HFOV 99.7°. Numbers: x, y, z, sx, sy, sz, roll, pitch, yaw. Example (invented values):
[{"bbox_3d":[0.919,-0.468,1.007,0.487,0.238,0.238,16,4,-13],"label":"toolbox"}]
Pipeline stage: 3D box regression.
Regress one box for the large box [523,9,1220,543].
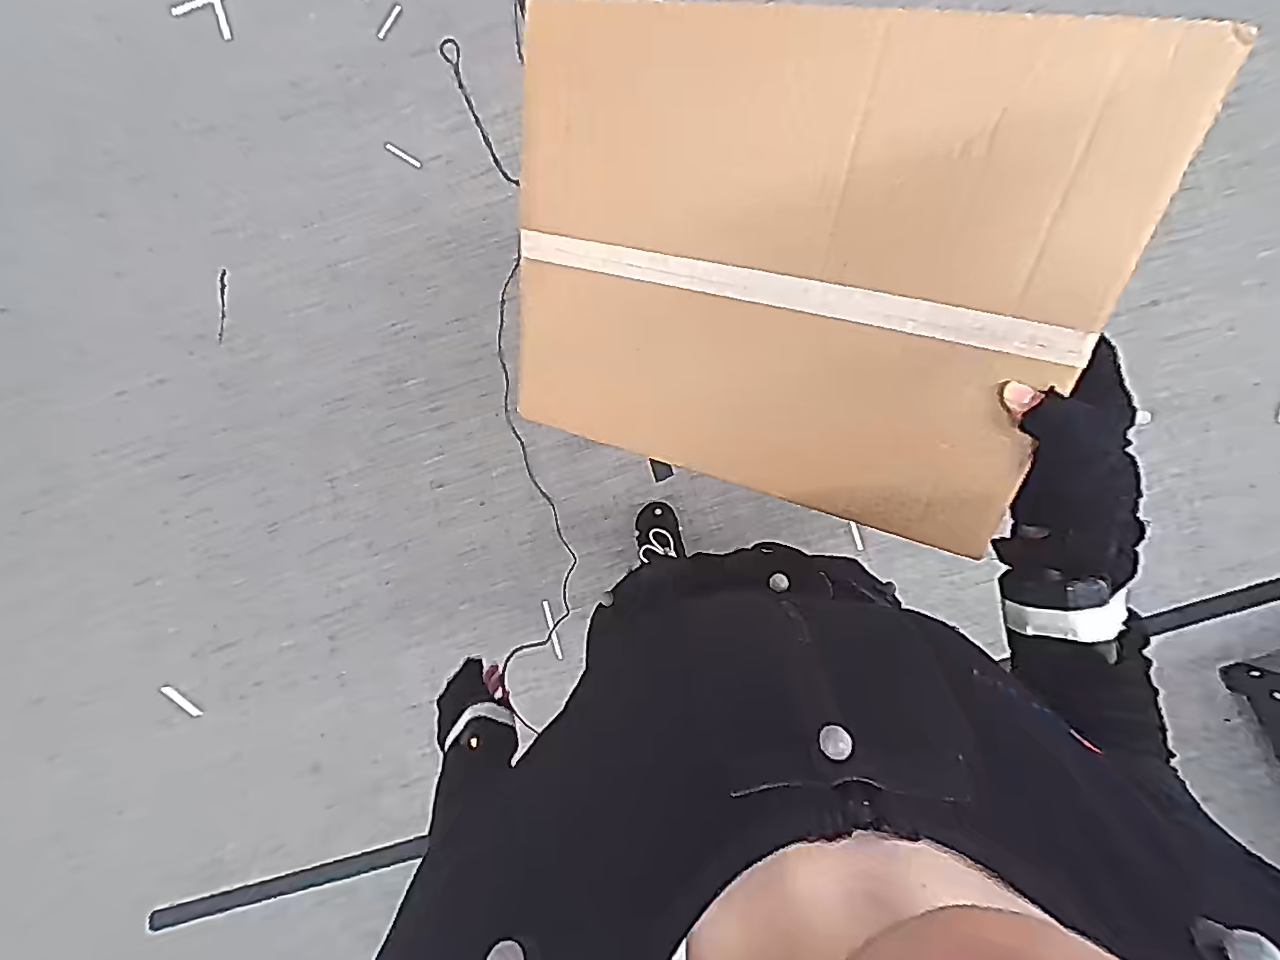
[{"bbox_3d":[0.143,-0.197,0.517,0.408,0.320,0.320,18,121,16],"label":"large box"}]
